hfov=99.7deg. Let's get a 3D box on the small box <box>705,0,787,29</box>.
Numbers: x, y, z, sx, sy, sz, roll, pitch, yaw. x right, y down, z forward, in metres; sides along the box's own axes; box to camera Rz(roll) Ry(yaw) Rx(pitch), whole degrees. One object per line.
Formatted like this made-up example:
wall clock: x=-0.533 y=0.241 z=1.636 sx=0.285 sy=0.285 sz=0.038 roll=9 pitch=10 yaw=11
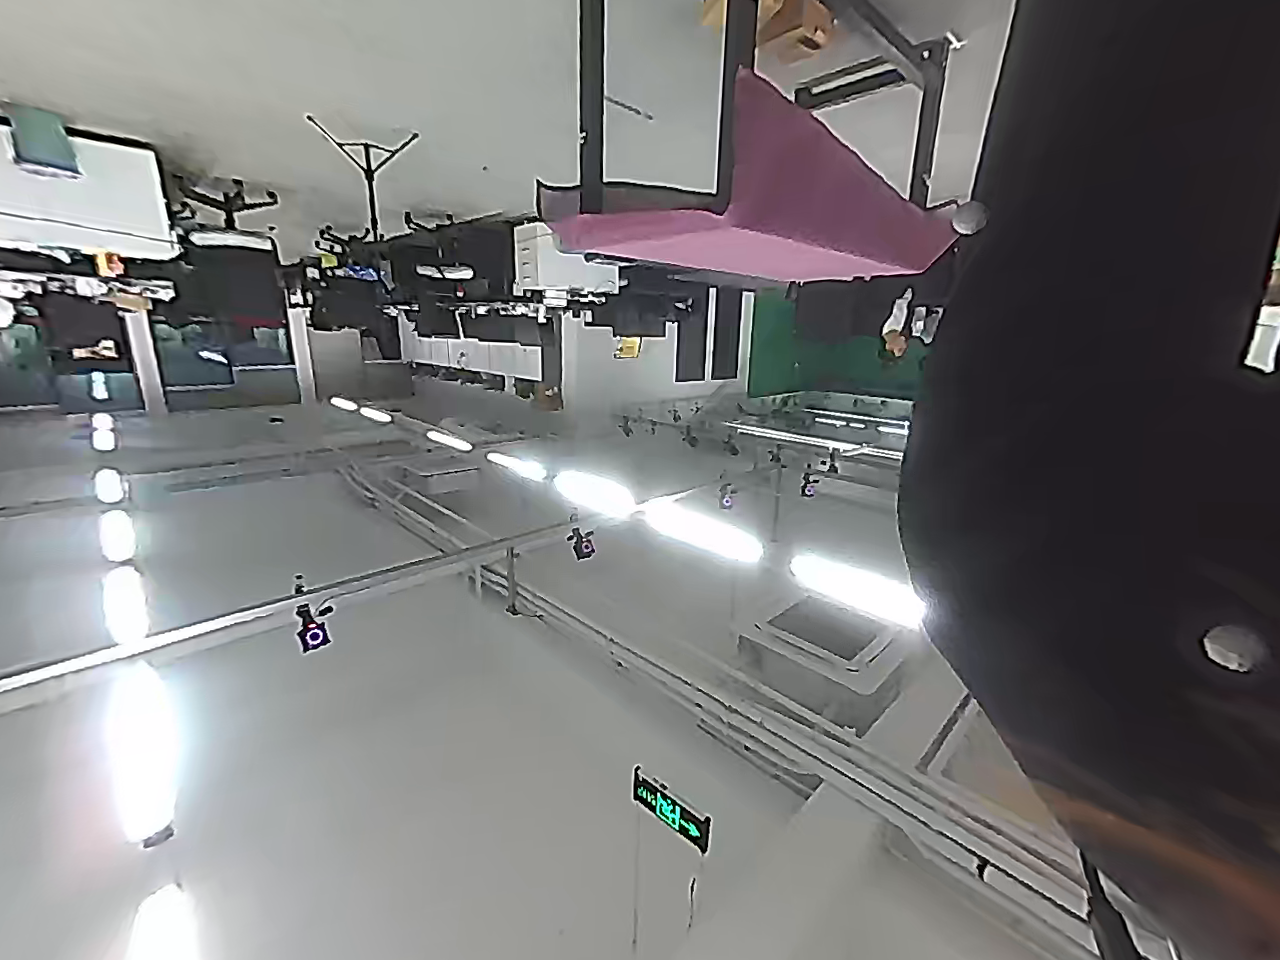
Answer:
small box: x=0.278 y=-1.305 z=1.379 sx=0.168 sy=0.176 sz=0.179 roll=-3 pitch=-163 yaw=-15
